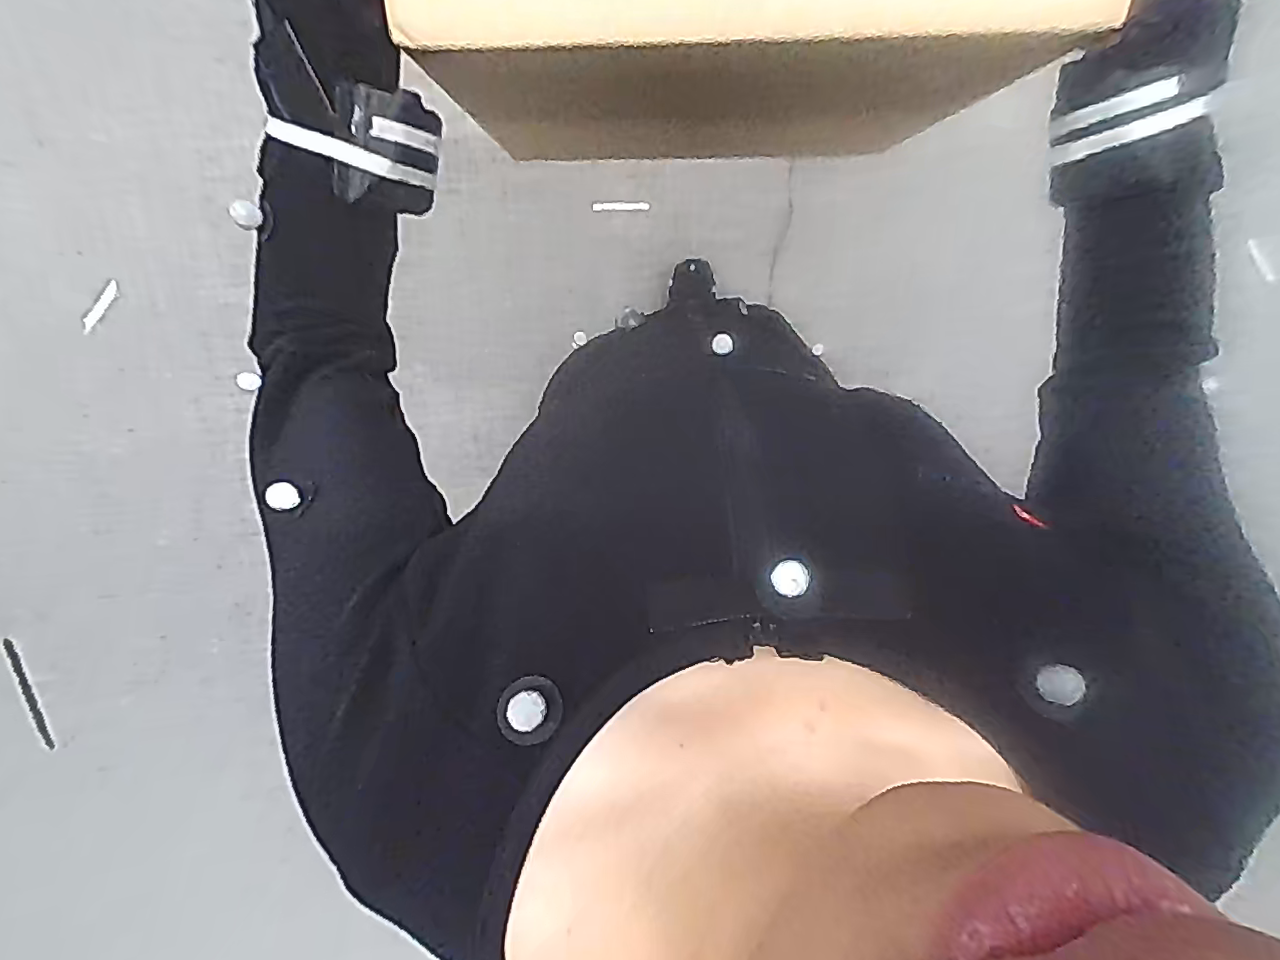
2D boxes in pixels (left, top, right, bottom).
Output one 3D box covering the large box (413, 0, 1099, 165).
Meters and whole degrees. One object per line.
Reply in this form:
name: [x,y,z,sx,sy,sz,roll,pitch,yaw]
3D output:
large box: [0.058,-0.451,0.404,0.408,0.320,0.320,-2,110,0]
